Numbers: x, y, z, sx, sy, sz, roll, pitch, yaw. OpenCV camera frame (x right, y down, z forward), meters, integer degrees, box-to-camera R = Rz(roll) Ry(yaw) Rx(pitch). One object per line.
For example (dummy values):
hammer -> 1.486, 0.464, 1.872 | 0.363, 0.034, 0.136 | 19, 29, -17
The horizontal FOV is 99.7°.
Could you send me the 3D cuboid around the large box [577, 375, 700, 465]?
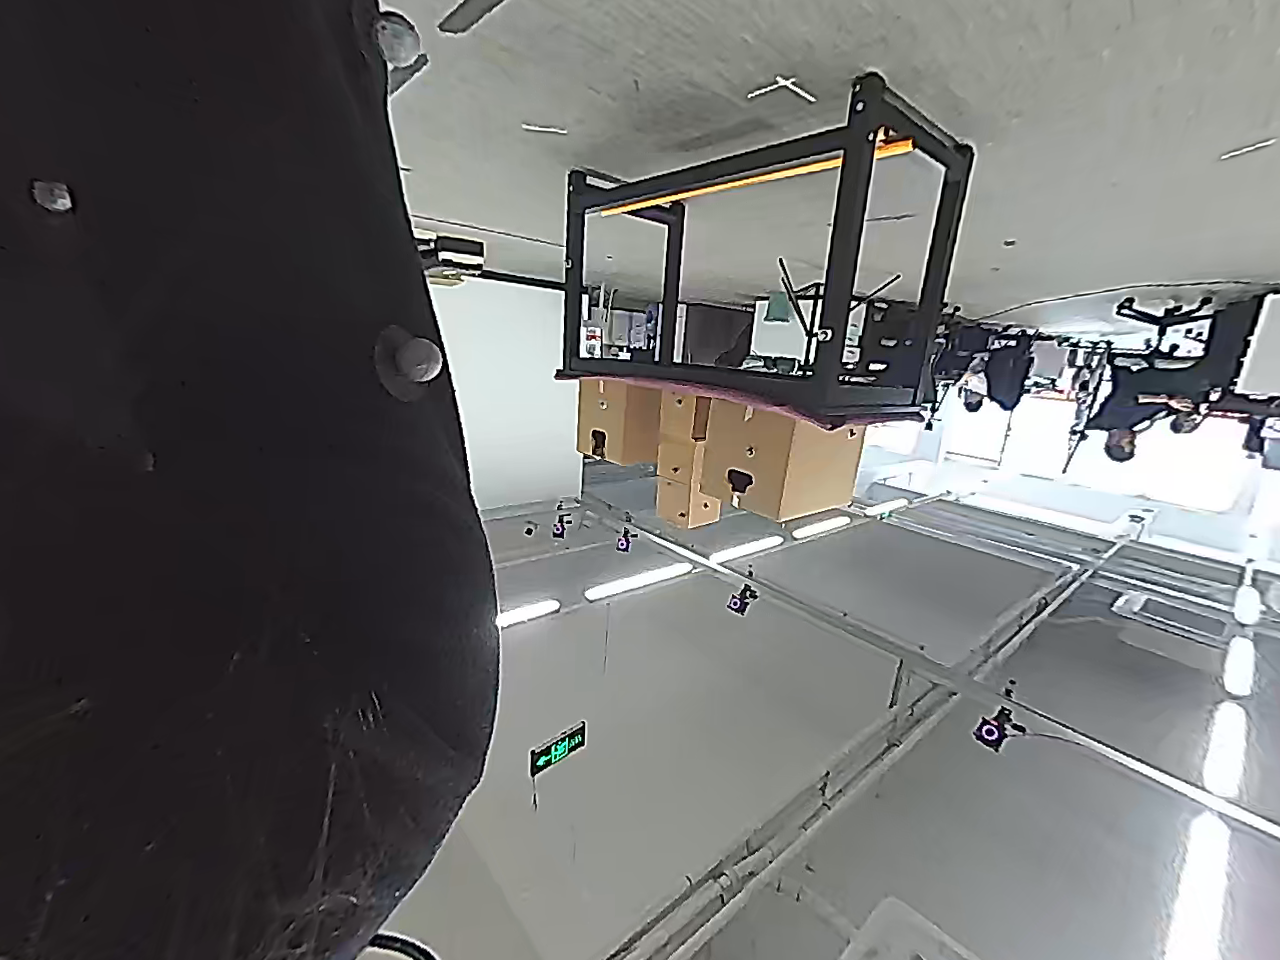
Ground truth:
large box -> -0.007, -0.257, 2.195 | 0.408, 0.320, 0.320 | -9, -160, -40
